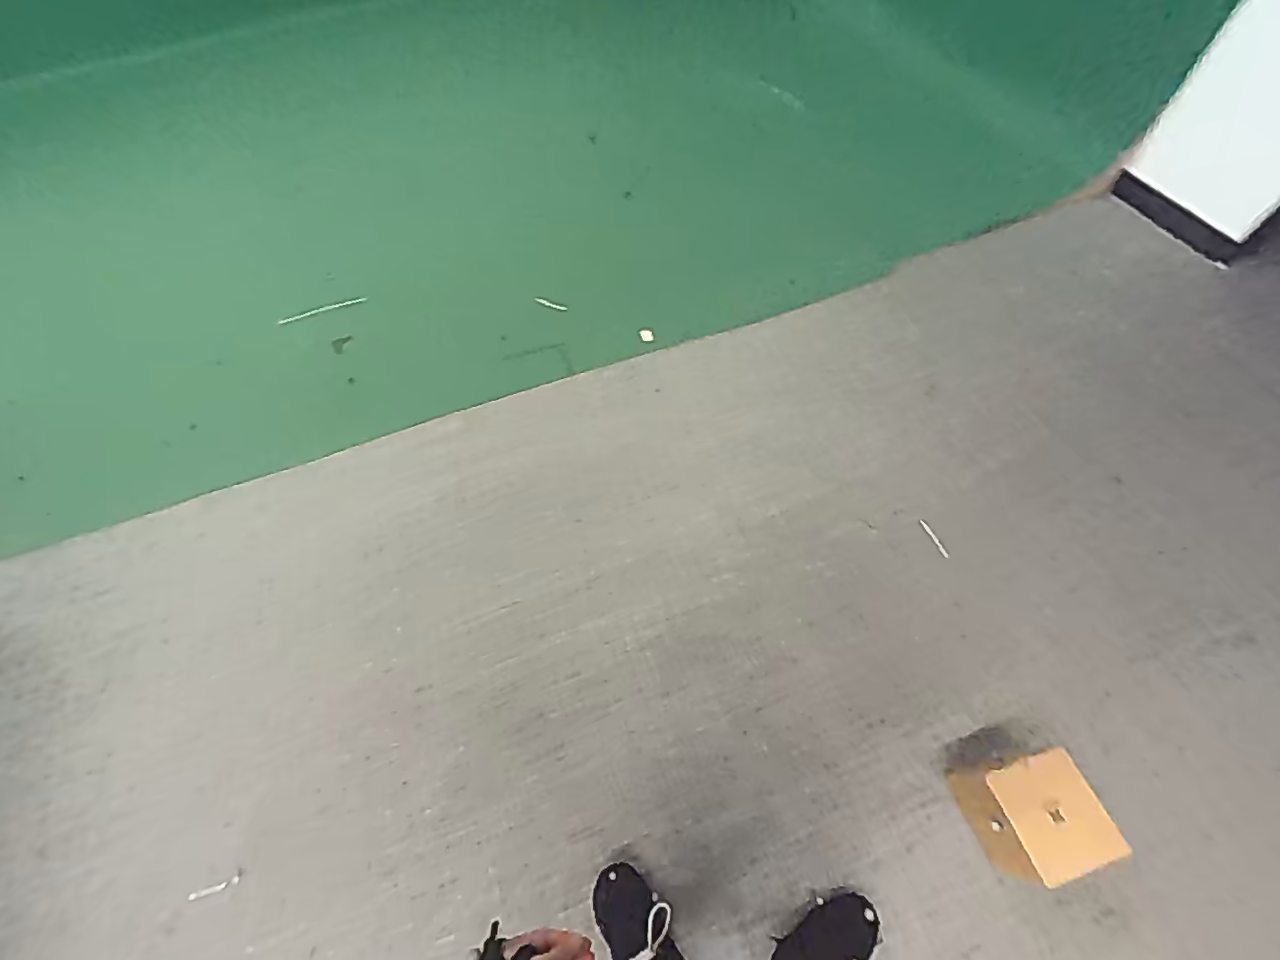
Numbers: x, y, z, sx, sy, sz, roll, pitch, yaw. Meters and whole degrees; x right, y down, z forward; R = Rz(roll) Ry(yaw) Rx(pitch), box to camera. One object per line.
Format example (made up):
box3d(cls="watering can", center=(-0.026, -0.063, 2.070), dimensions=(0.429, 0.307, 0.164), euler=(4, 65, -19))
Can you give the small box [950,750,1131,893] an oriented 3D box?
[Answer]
box3d(cls="small box", center=(0.724, 0.622, 1.003), dimensions=(0.168, 0.176, 0.179), euler=(-17, 60, -6))
